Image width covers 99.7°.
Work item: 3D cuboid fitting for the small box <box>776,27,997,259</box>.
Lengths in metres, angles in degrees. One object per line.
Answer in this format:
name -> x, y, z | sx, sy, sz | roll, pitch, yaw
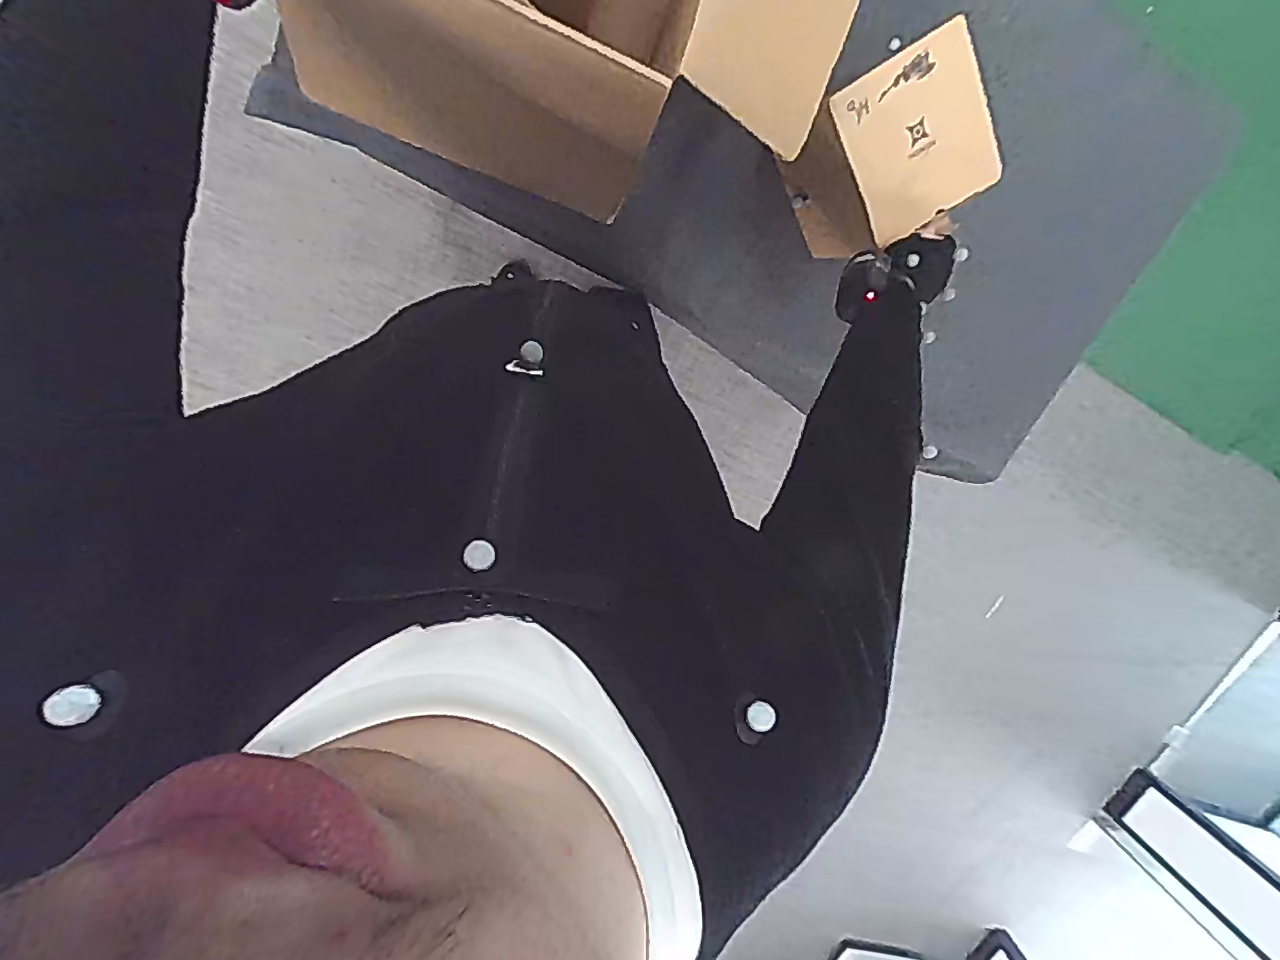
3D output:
small box -> 0.297, -0.400, 0.676 | 0.168, 0.176, 0.179 | -29, 114, 3
